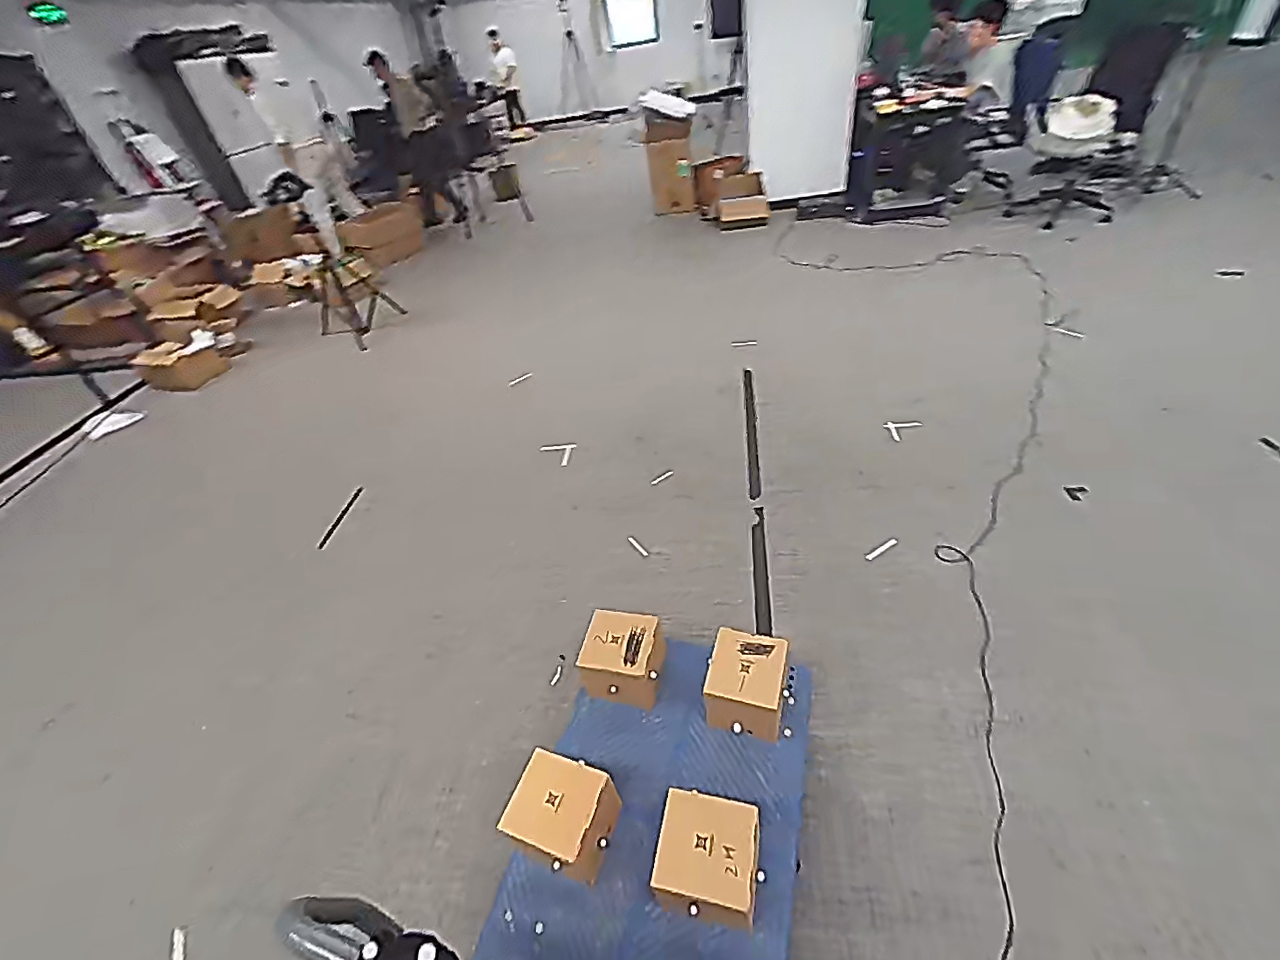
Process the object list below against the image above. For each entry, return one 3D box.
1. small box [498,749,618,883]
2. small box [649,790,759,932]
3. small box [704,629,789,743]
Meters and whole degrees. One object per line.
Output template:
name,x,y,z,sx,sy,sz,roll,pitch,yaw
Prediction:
small box,-0.163,0.704,1.132,0.179,0.176,0.168,10,43,20
small box,0.130,0.729,1.035,0.179,0.176,0.168,3,42,17
small box,0.256,0.489,1.287,0.168,0.176,0.179,7,44,20
